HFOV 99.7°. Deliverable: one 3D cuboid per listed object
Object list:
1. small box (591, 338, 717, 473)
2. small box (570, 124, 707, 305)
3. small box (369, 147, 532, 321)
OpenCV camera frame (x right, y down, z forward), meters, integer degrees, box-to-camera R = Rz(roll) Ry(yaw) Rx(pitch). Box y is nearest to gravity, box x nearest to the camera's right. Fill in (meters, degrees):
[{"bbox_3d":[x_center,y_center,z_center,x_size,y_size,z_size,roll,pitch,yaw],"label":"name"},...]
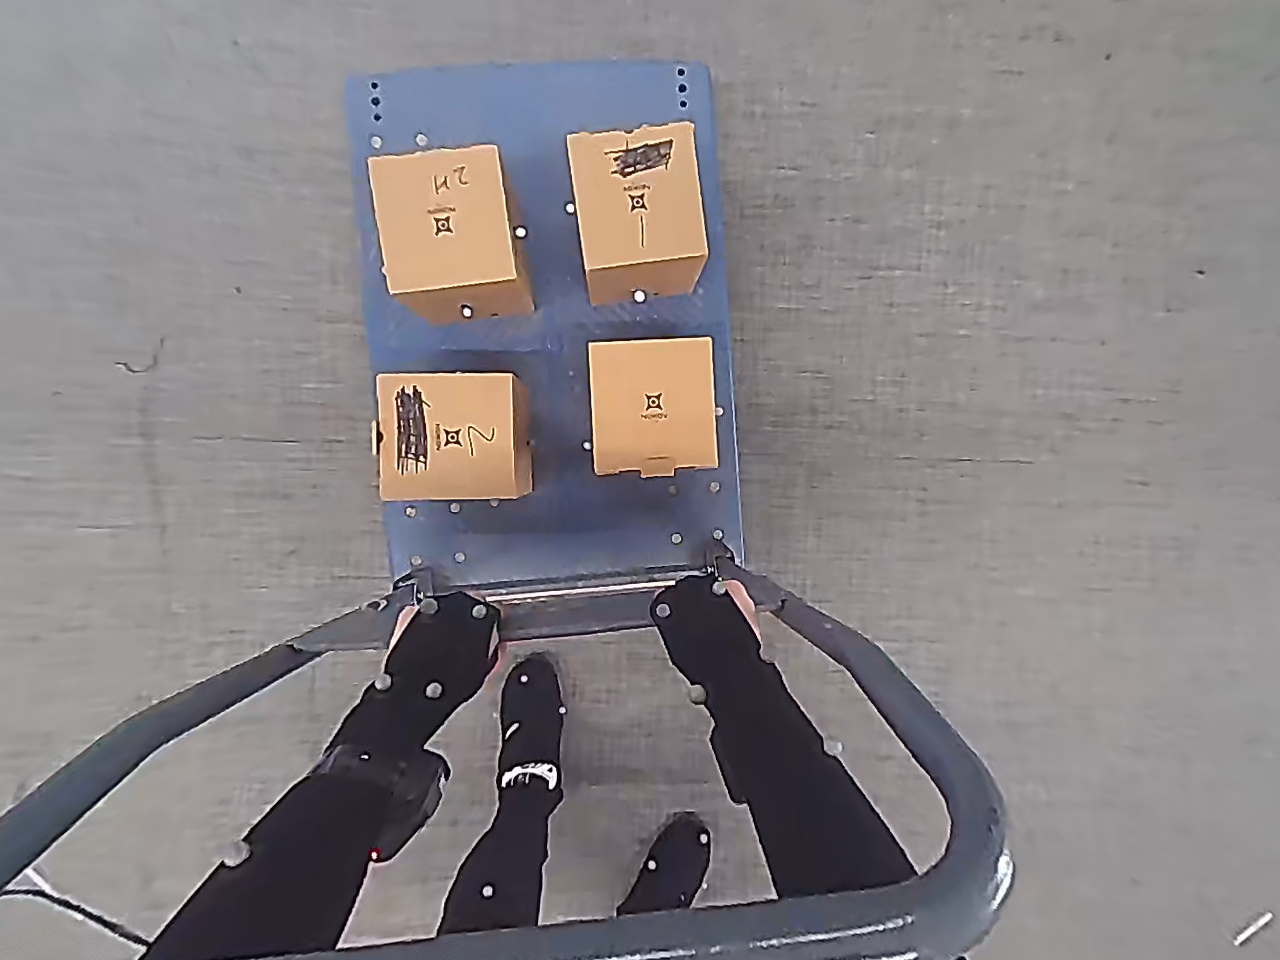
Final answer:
[{"bbox_3d":[0.013,-0.100,0.792,0.168,0.176,0.179,-3,93,-3],"label":"small box"},{"bbox_3d":[-0.006,-0.370,0.779,0.168,0.176,0.179,-8,93,-2],"label":"small box"},{"bbox_3d":[-0.255,-0.333,0.768,0.168,0.176,0.179,-8,92,-3],"label":"small box"}]
